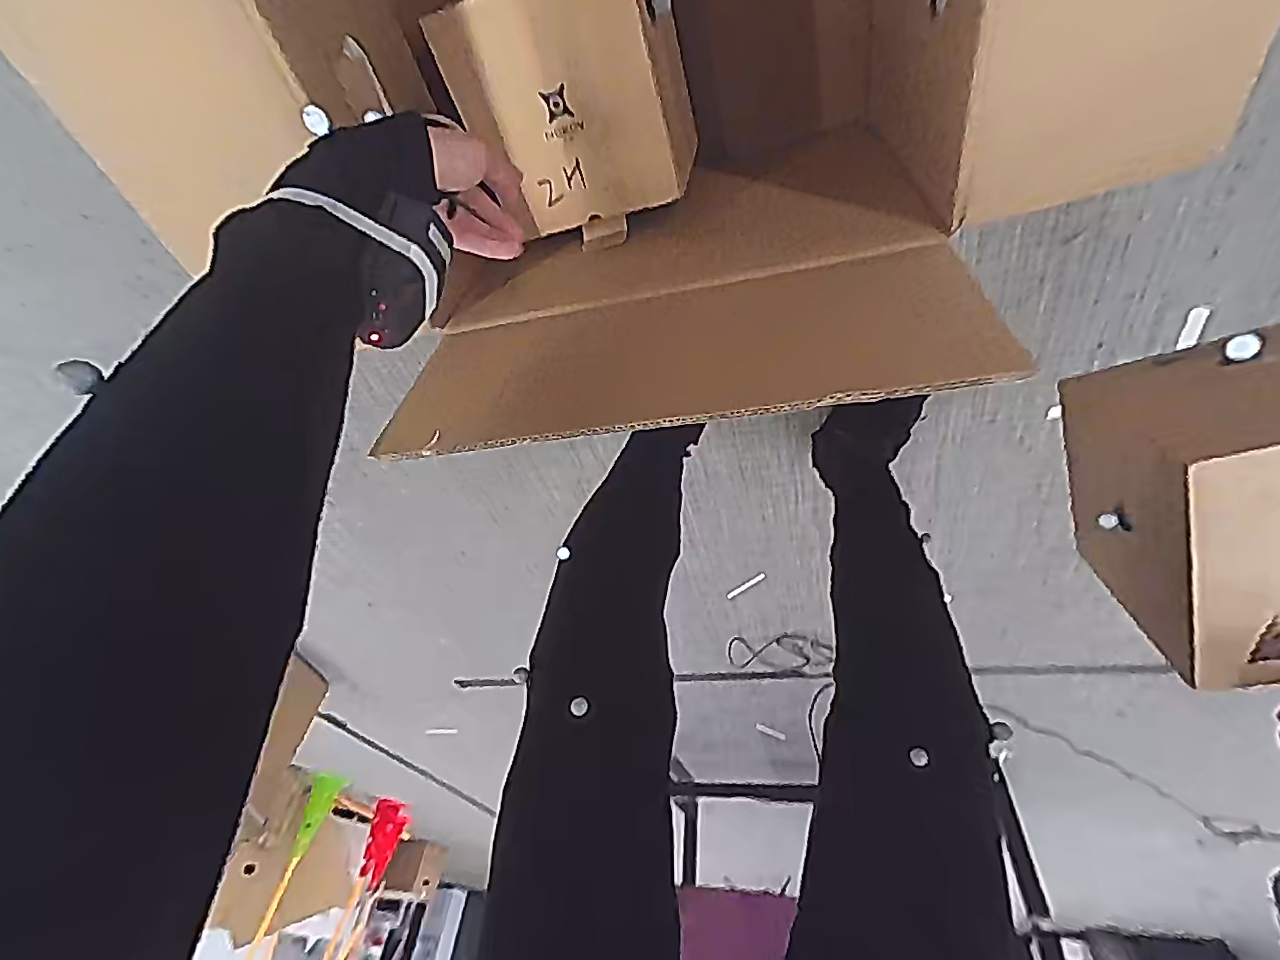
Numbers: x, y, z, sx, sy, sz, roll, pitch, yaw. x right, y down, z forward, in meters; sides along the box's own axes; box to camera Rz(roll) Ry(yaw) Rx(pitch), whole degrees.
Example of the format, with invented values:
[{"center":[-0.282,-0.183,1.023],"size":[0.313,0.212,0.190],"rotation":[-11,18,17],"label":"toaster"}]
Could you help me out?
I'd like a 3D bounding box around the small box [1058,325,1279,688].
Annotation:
[{"center":[0.422,0.011,0.370],"size":[0.168,0.176,0.179],"rotation":[-14,110,21],"label":"small box"}]
